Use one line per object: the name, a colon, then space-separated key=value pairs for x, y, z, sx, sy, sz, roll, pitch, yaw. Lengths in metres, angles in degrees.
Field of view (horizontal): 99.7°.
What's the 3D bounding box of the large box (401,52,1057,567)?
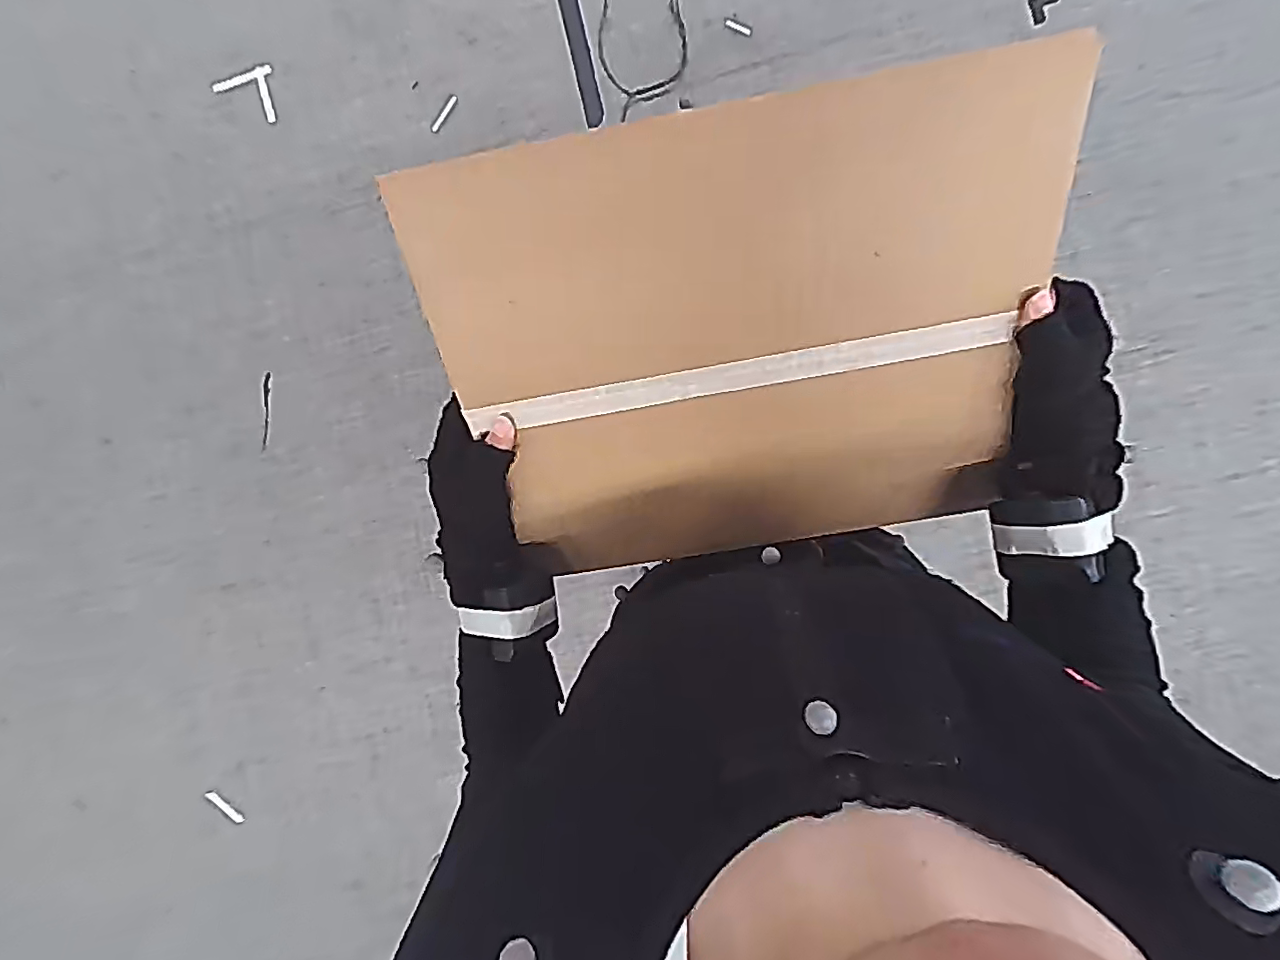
large box: x=0.067 y=-0.160 z=0.523 sx=0.408 sy=0.320 sz=0.320 roll=-10 pitch=121 yaw=4
